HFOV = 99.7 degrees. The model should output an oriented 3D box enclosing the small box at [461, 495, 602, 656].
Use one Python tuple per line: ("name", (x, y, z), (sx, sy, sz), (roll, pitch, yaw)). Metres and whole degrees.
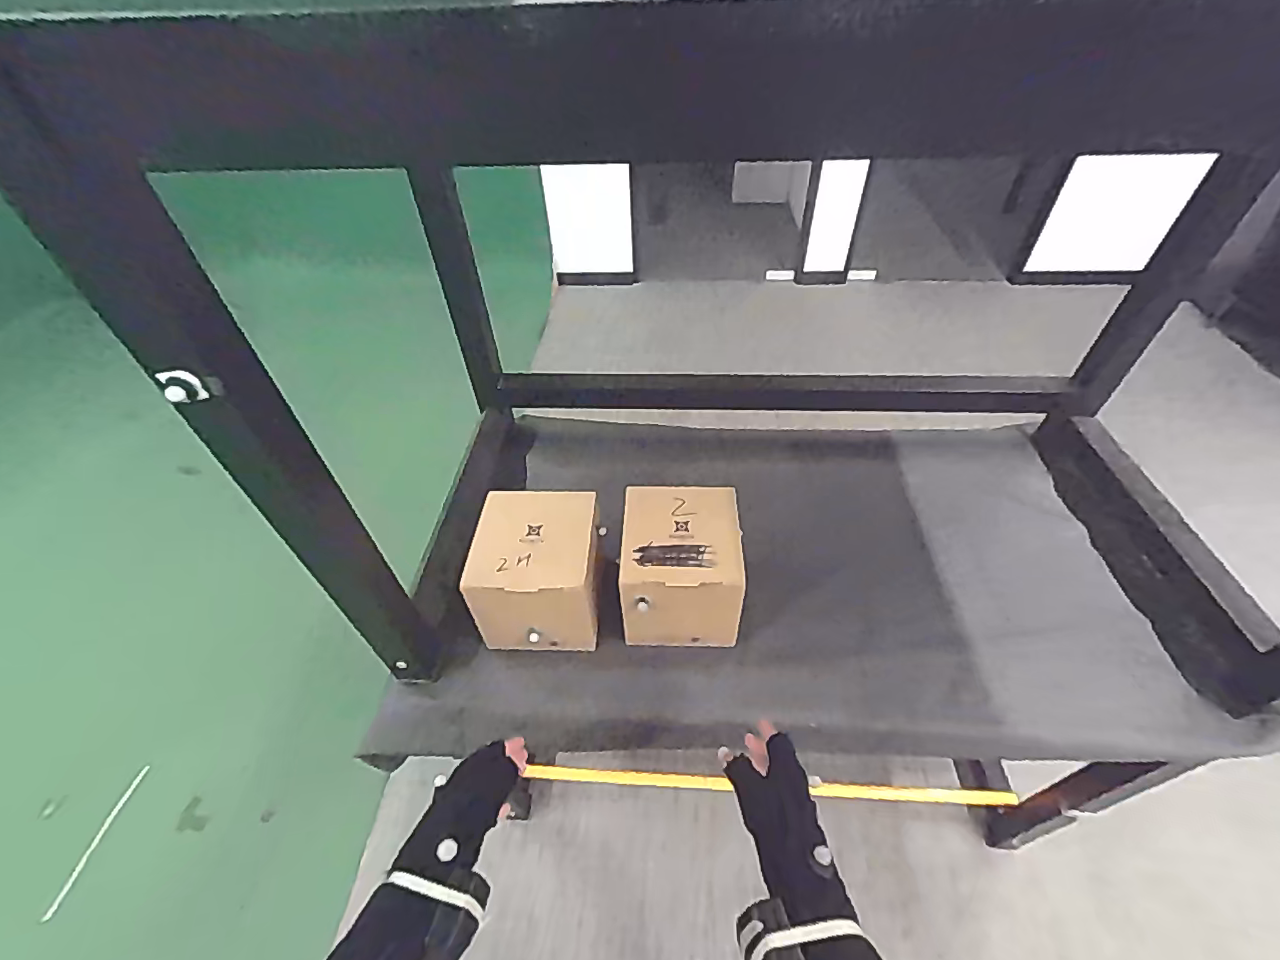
("small box", (-0.149, 0.142, 0.813), (0.168, 0.176, 0.179), (0, 45, 2))
